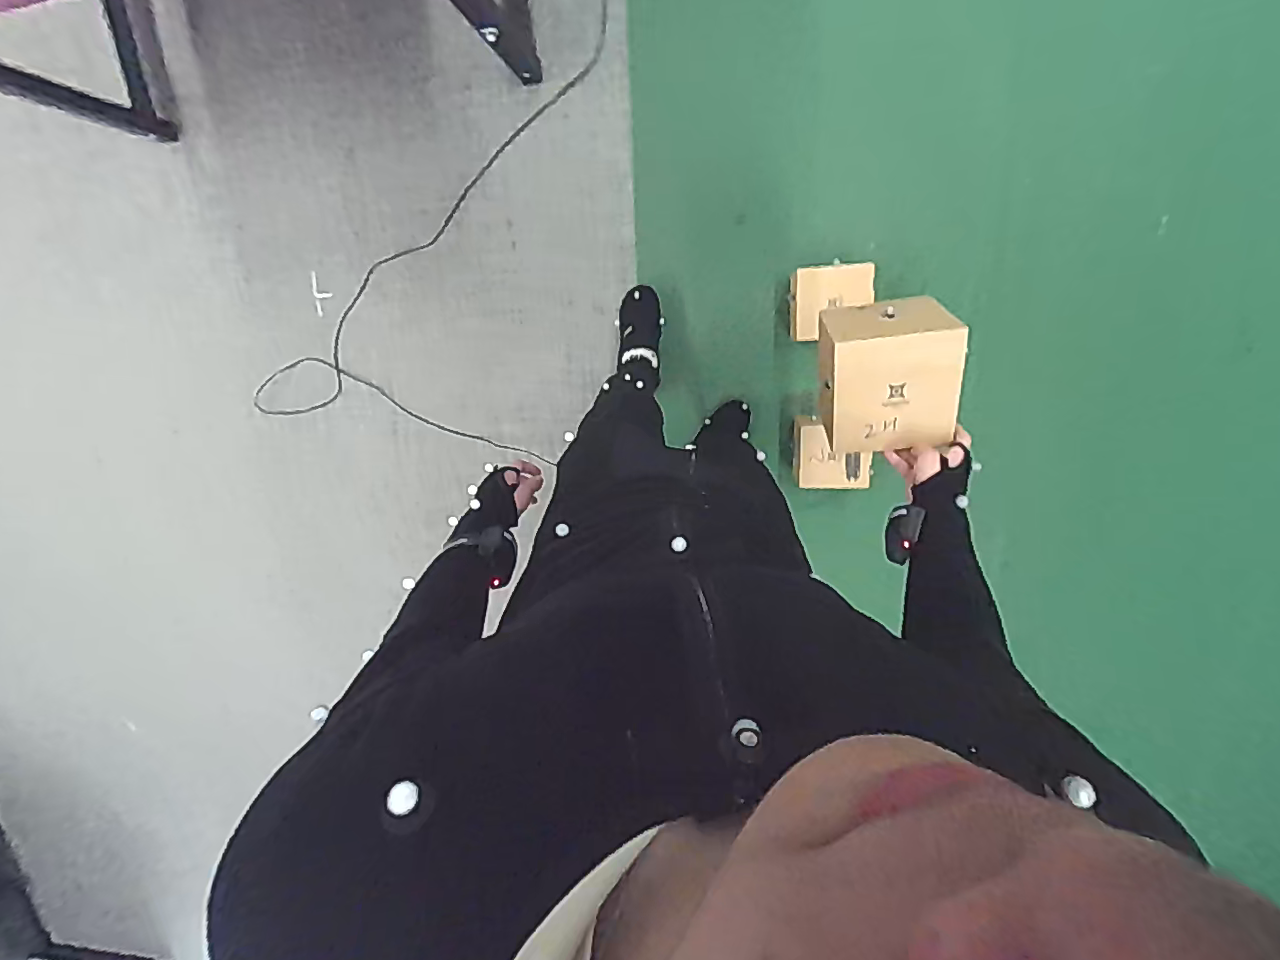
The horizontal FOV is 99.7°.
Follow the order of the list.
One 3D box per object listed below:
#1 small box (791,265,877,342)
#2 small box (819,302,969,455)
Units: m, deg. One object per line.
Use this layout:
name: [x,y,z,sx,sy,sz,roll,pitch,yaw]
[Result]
small box: [0.472,-0.431,1.343,0.179,0.176,0.168,-1,105,9]
small box: [0.363,-0.157,0.807,0.168,0.176,0.179,-4,122,13]
